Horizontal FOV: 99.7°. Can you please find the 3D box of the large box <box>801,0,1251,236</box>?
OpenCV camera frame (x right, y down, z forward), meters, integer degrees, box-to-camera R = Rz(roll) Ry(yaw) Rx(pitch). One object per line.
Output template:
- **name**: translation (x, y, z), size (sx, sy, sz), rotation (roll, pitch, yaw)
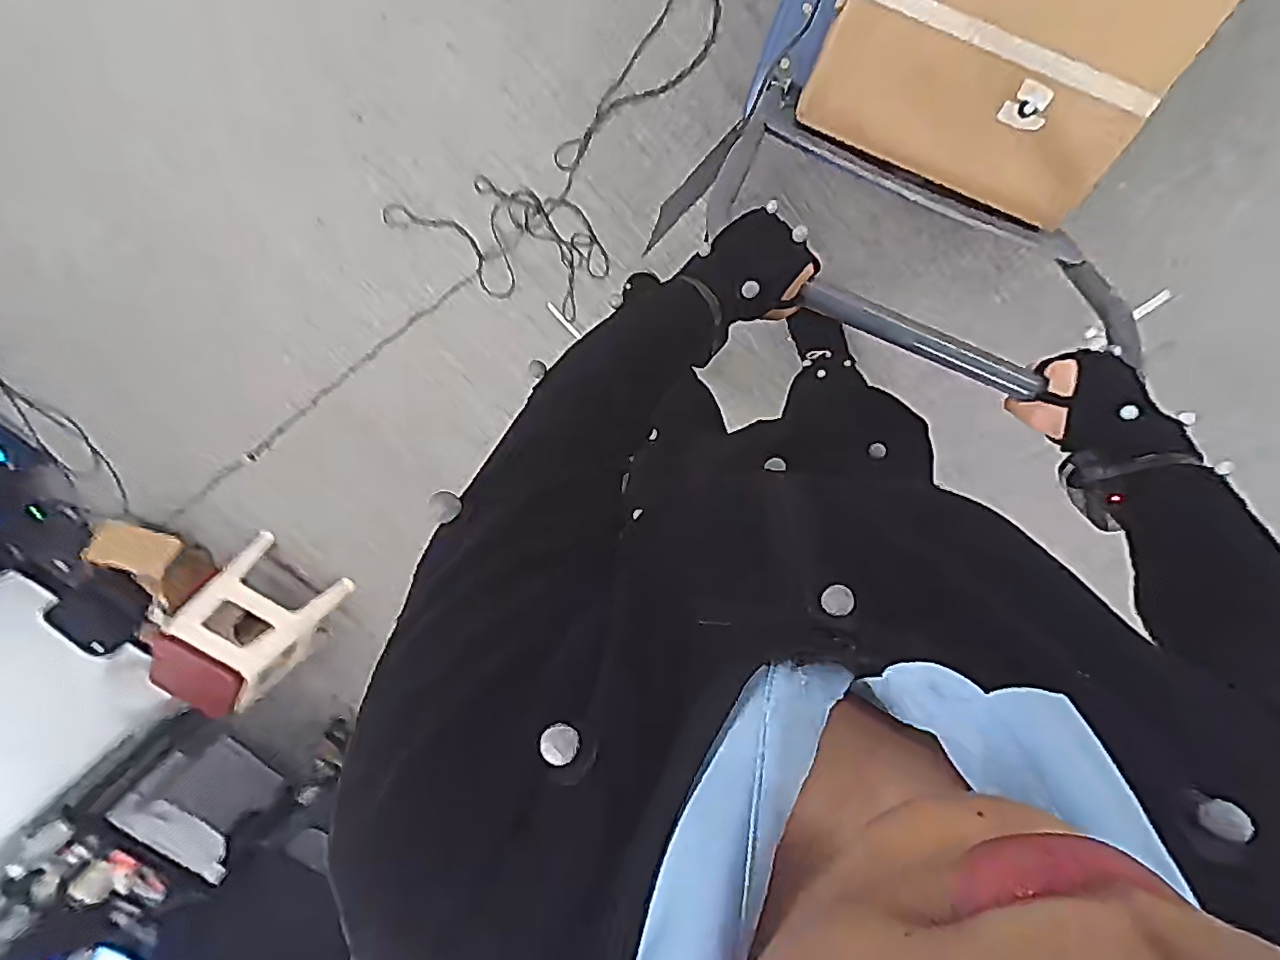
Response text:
- **large box**: translation (0.481, -0.609, 0.769), size (0.408, 0.320, 0.320), rotation (22, 131, -2)
